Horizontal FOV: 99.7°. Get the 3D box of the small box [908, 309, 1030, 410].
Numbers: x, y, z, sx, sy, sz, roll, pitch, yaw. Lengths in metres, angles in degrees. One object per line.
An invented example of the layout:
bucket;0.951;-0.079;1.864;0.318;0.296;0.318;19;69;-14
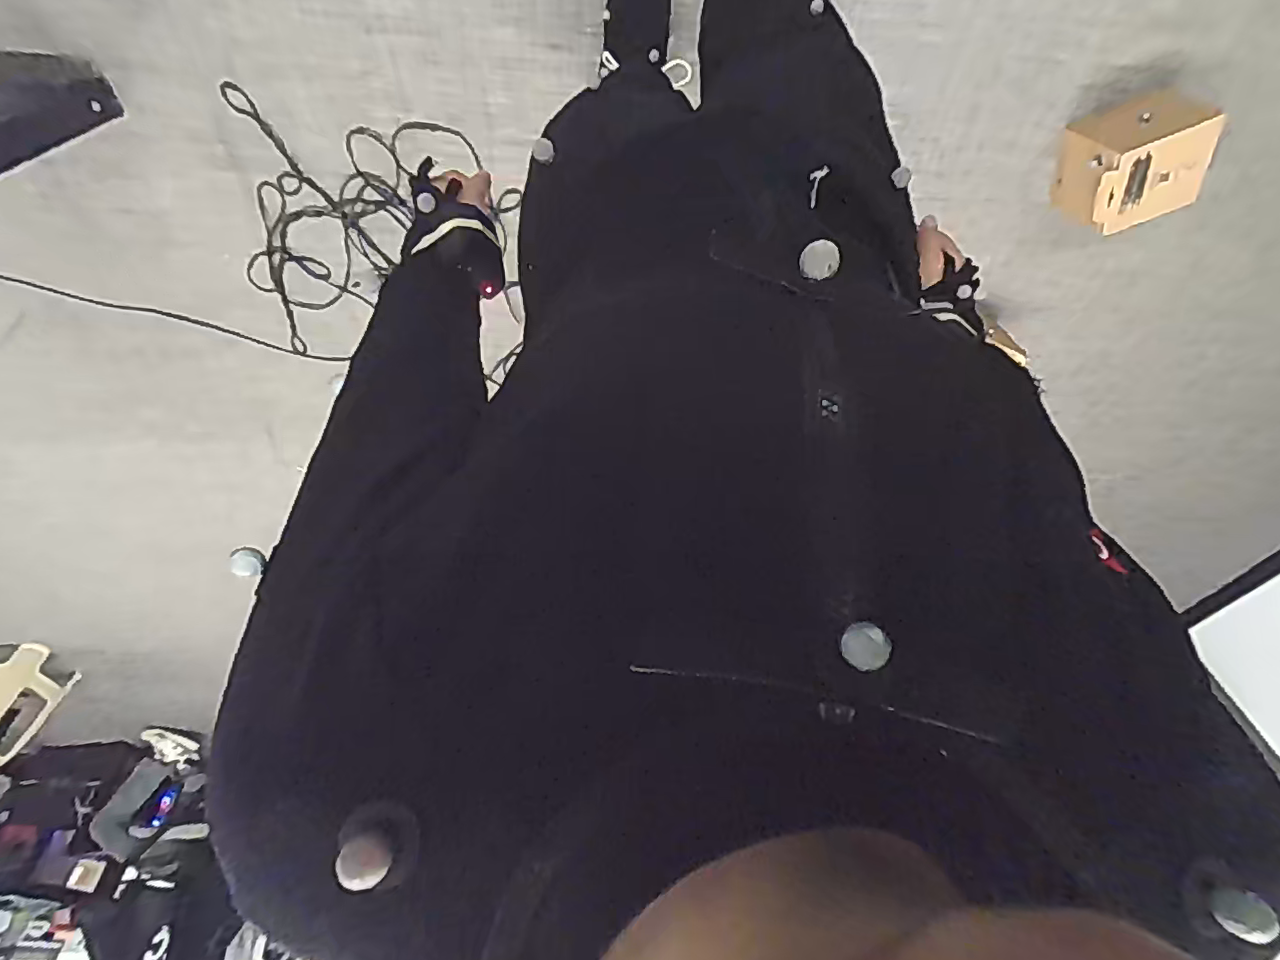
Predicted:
small box;0.840;-0.314;1.397;0.179;0.176;0.168;15;134;-19
